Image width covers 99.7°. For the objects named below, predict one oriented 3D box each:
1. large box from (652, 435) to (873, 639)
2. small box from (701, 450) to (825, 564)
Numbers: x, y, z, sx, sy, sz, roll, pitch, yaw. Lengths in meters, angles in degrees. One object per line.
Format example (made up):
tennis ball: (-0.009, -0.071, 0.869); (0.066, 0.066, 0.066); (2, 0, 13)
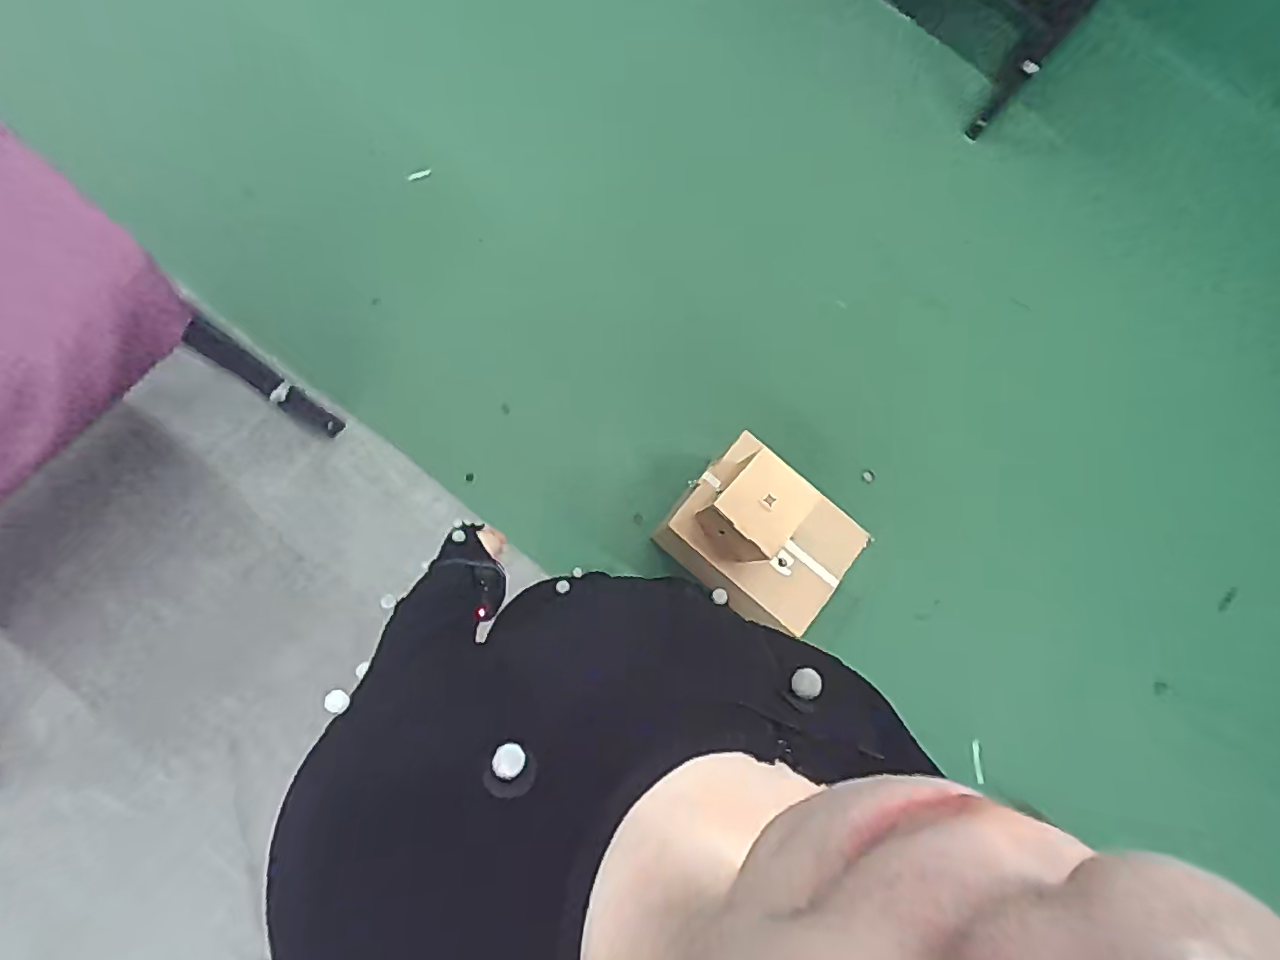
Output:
large box: (0.294, 0.153, 1.408); (0.408, 0.320, 0.320); (41, 78, 1)
small box: (0.255, 0.064, 1.171); (0.168, 0.176, 0.179); (43, 78, 2)
